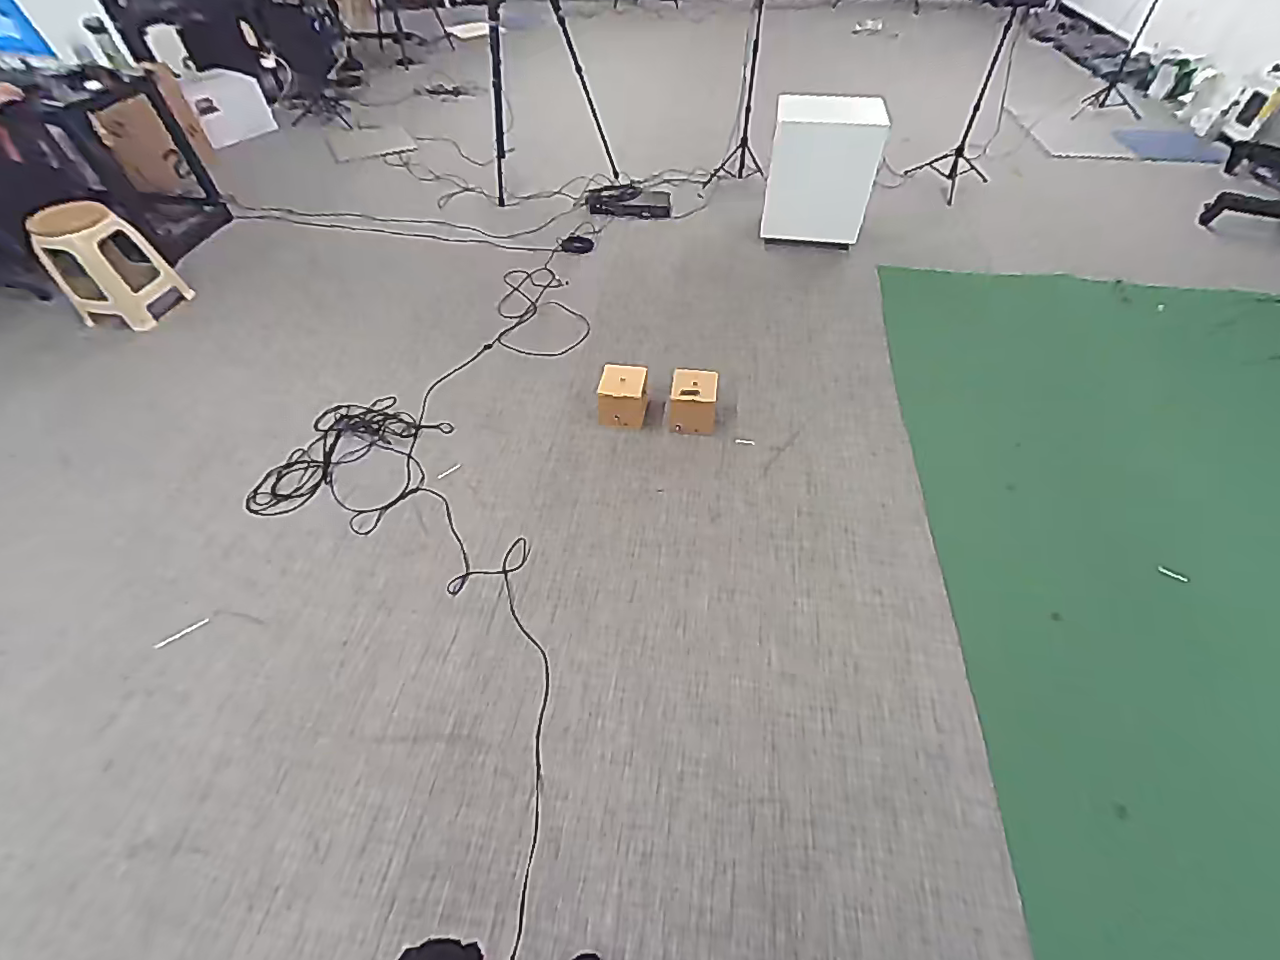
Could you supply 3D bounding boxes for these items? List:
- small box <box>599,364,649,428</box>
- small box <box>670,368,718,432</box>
[{"bbox_3d":[-0.057,-0.325,2.091,0.168,0.176,0.179,6,51,7],"label":"small box"},{"bbox_3d":[0.207,-0.303,2.063,0.168,0.176,0.179,6,50,6],"label":"small box"}]
